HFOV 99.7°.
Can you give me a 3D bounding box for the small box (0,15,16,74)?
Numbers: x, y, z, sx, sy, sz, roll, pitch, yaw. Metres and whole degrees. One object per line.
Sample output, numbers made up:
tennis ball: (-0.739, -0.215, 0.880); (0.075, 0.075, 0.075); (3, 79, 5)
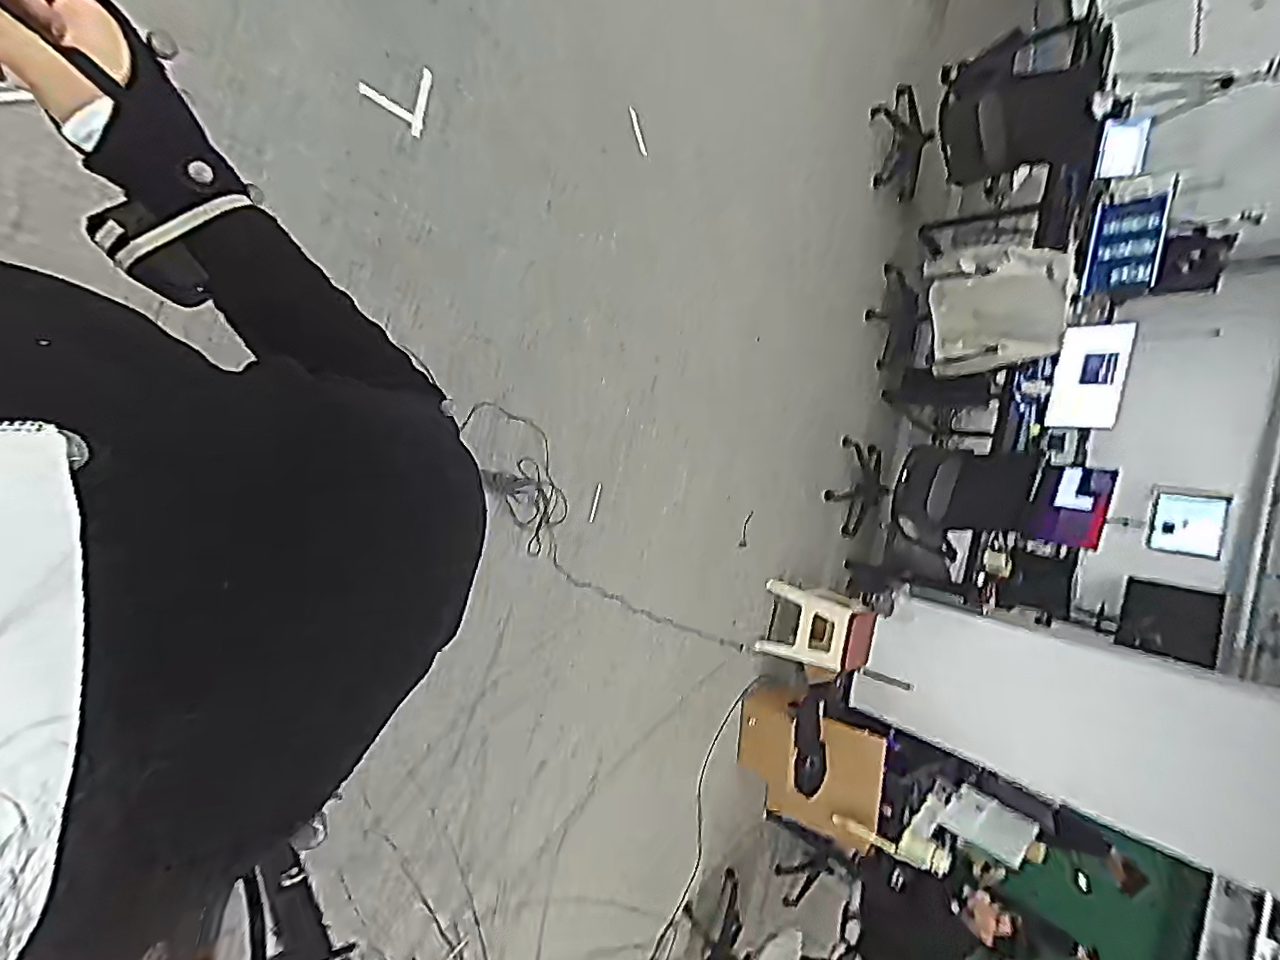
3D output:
small box: (-0.471, -0.323, 0.265); (0.179, 0.176, 0.168); (-21, 121, -39)
